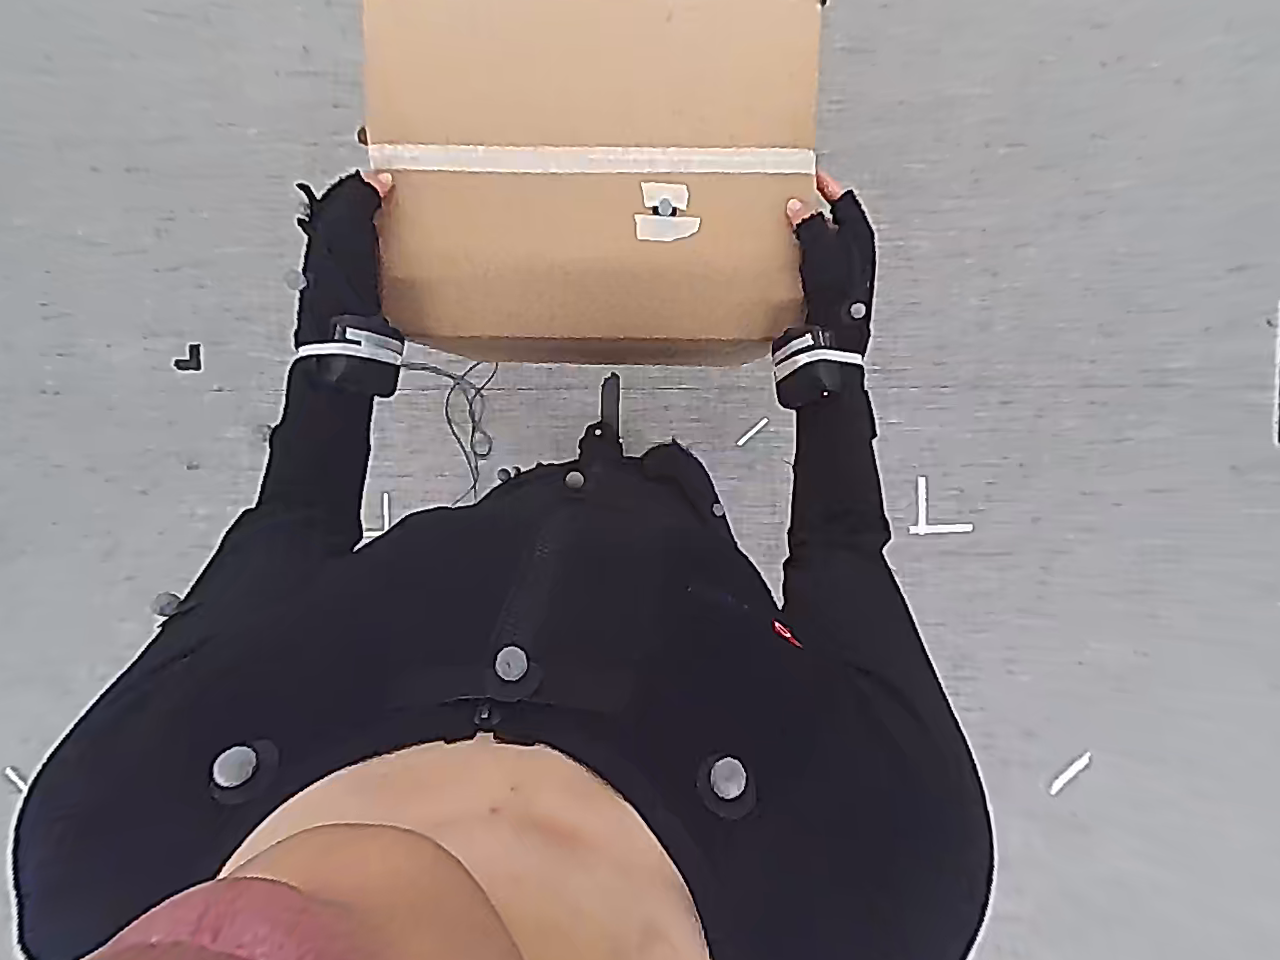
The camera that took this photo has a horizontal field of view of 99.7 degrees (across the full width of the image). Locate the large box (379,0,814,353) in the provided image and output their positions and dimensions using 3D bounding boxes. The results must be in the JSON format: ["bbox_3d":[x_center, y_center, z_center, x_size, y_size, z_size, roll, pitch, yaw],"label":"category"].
[{"bbox_3d":[-0.043,-0.327,0.657,0.408,0.320,0.320,0,99,-1],"label":"large box"}]
